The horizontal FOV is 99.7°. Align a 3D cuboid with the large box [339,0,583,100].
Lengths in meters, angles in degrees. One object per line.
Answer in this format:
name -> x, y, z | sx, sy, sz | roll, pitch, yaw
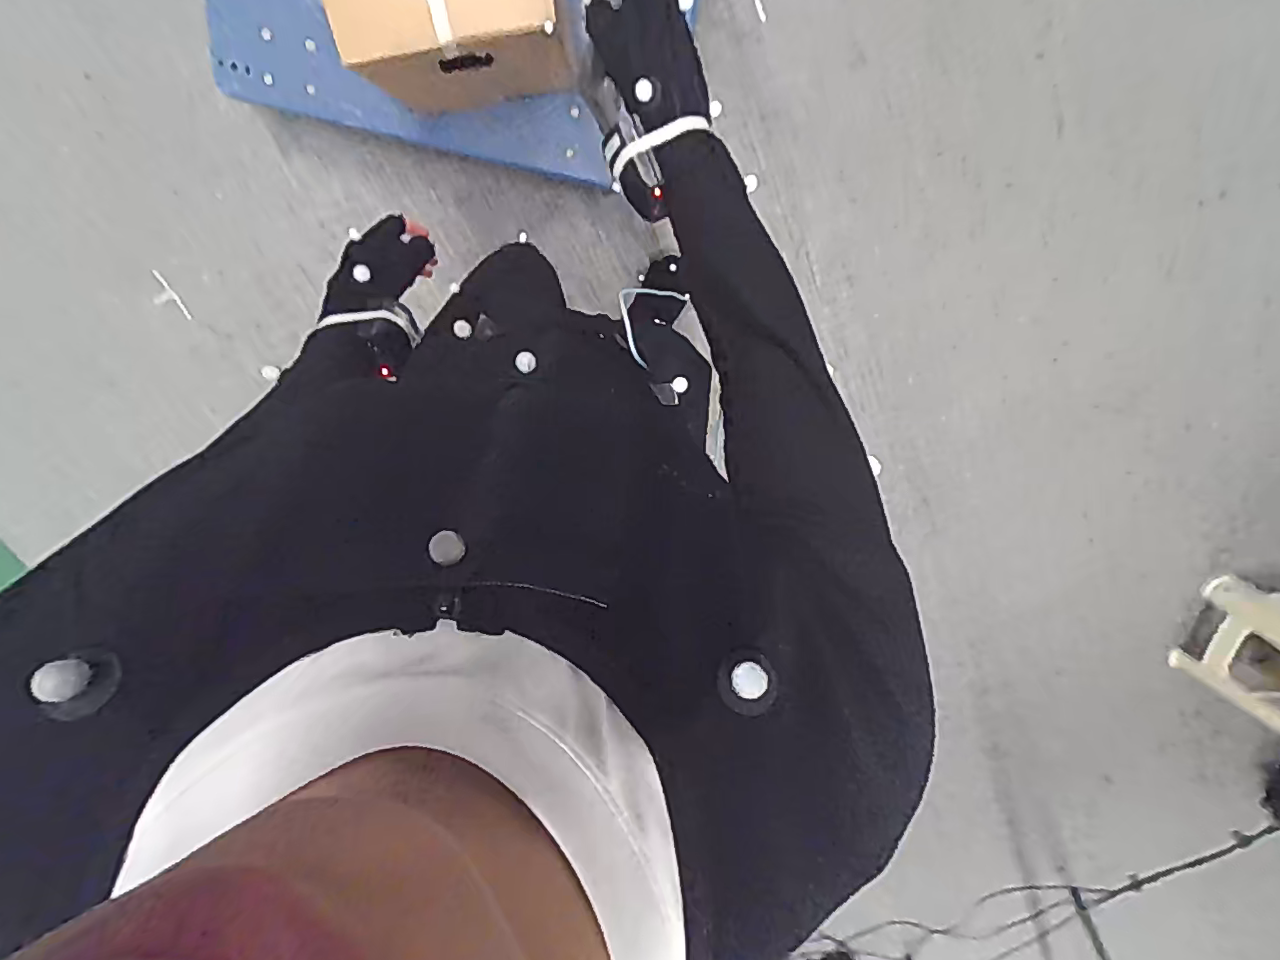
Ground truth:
large box -> -0.283, -0.861, 0.808 | 0.320, 0.320, 0.408 | -7, 114, 5
